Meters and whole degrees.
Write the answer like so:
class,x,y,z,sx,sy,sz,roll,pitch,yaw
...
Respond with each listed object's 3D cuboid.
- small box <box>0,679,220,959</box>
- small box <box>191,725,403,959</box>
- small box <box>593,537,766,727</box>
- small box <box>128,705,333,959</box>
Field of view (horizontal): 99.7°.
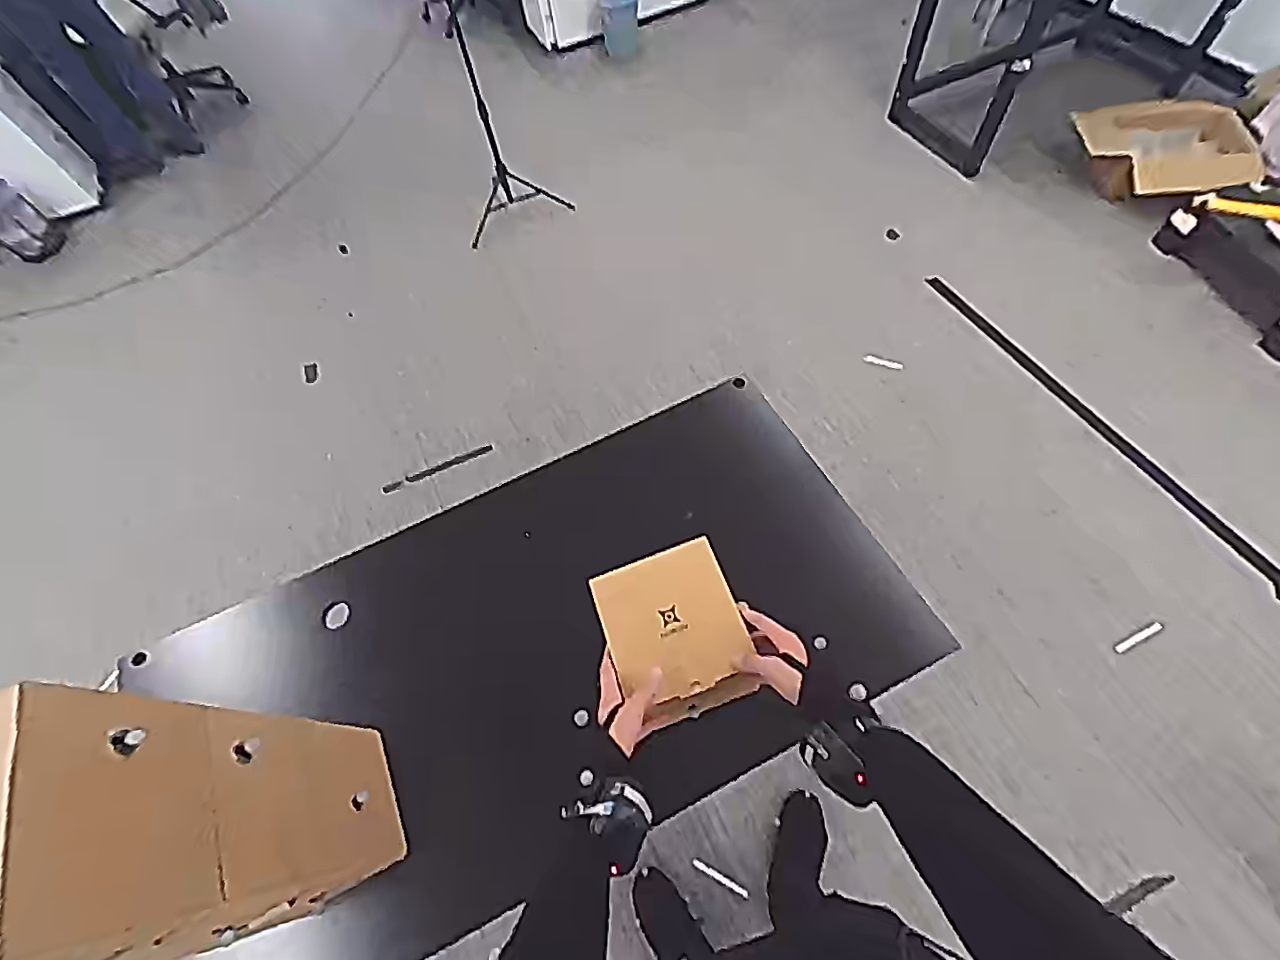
class,x,y,z,sx,sy,sz,roll,pitch,yaw
small box,-0.457,0.277,0.398,0.168,0.176,0.179,-27,62,-8
small box,-0.428,0.437,0.683,0.168,0.176,0.179,-27,63,-9
small box,0.051,0.207,0.719,0.168,0.176,0.179,-21,60,-3
small box,-0.443,0.356,0.540,0.168,0.176,0.179,-27,62,-8
